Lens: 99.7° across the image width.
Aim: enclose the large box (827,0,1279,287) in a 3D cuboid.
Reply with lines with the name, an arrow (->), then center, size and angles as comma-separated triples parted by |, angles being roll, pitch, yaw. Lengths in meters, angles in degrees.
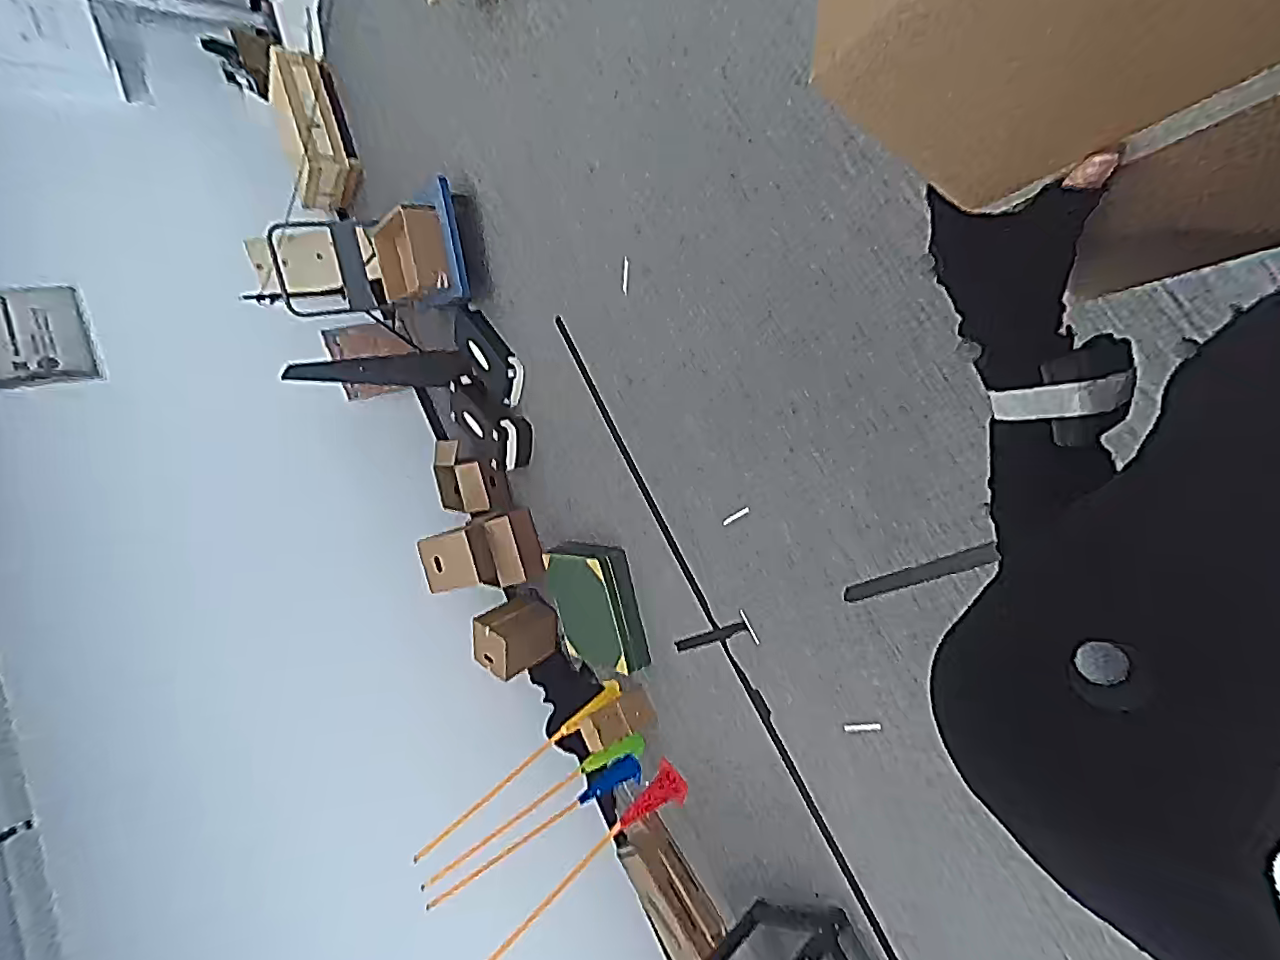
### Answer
large box -> 0.341, -0.341, 0.207 | 0.408, 0.320, 0.320 | -7, 73, 59
